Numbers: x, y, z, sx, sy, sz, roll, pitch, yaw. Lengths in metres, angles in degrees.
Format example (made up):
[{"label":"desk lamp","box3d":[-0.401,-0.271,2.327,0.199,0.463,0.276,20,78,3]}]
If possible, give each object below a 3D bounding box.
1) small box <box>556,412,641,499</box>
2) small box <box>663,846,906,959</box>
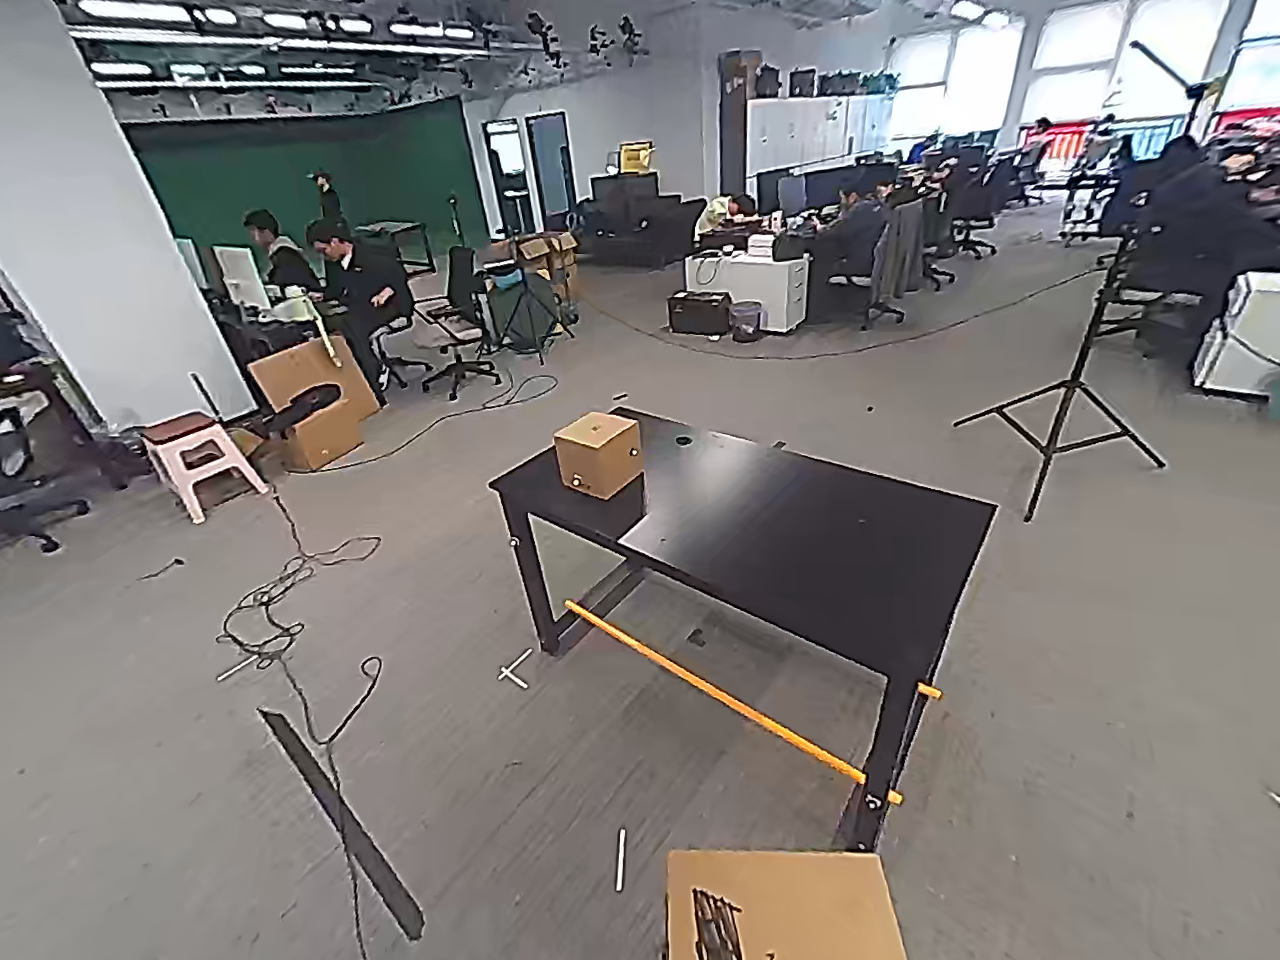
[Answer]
[{"label":"small box","box3d":[-0.110,-0.072,1.528,0.168,0.176,0.179,16,39,33]},{"label":"small box","box3d":[0.108,0.417,0.429,0.179,0.176,0.168,-1,37,3]}]
